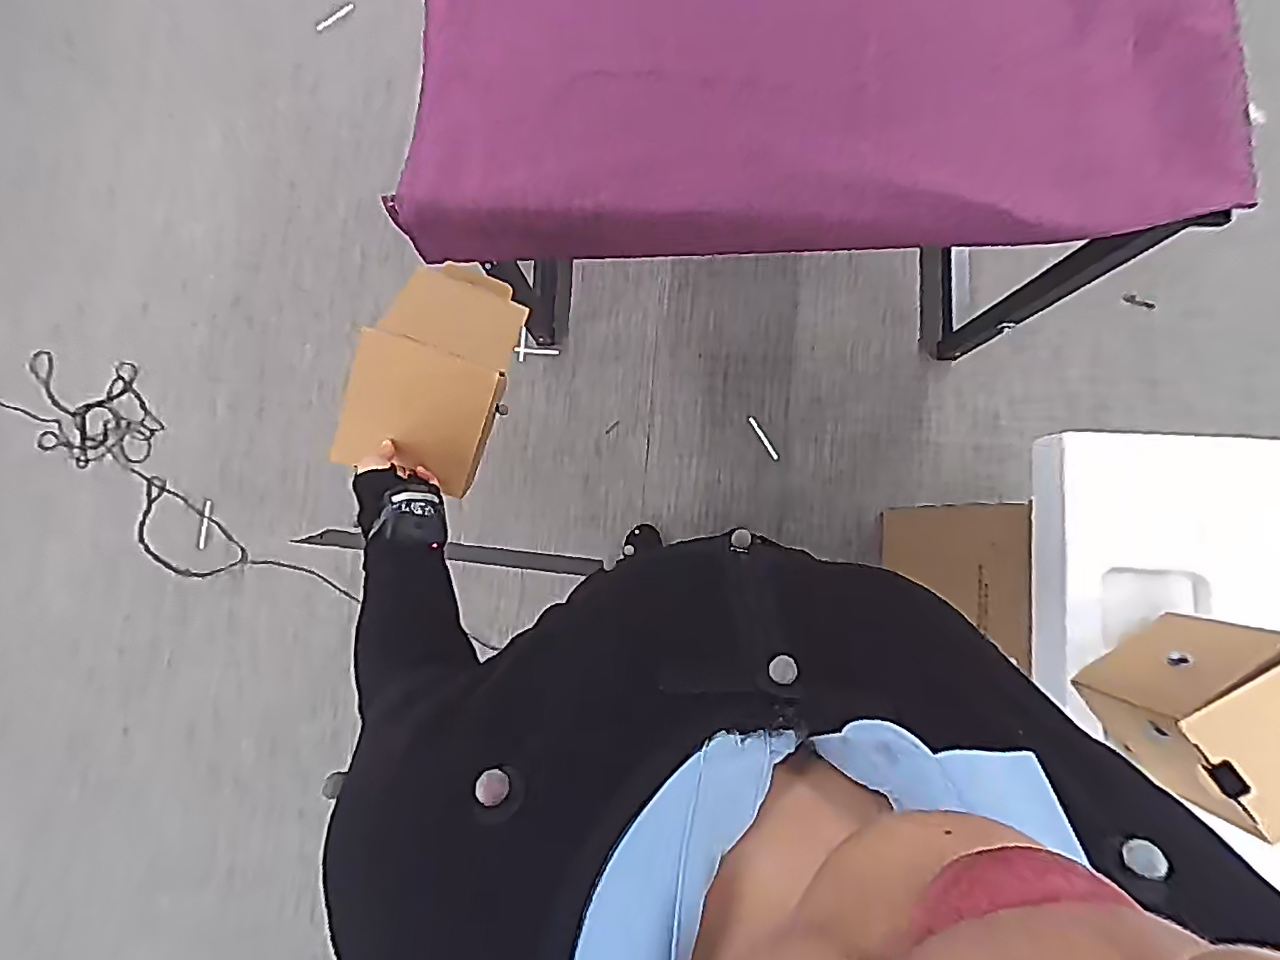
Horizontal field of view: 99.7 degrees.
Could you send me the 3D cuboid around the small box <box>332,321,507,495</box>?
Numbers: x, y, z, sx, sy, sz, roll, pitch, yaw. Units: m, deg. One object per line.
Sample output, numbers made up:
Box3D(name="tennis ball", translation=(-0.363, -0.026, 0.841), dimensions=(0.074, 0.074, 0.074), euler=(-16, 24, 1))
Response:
Box3D(name="small box", translation=(-0.294, -0.096, 0.756), dimensions=(0.168, 0.176, 0.179), euler=(19, 92, -14))
